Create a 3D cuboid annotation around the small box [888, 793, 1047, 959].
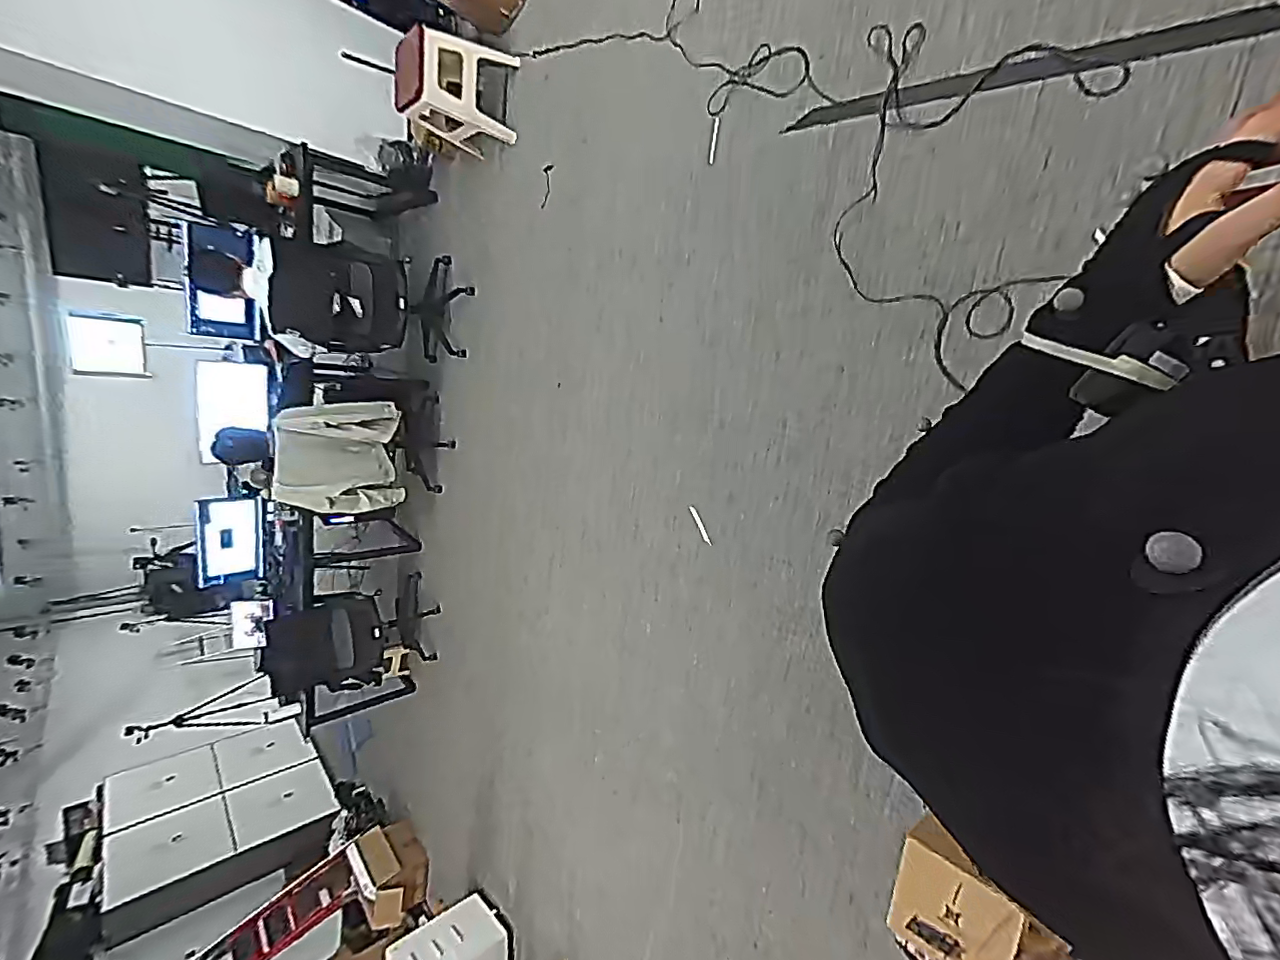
[{"bbox_3d":[0.534,0.661,0.879,0.168,0.176,0.179,17,103,45],"label":"small box"}]
